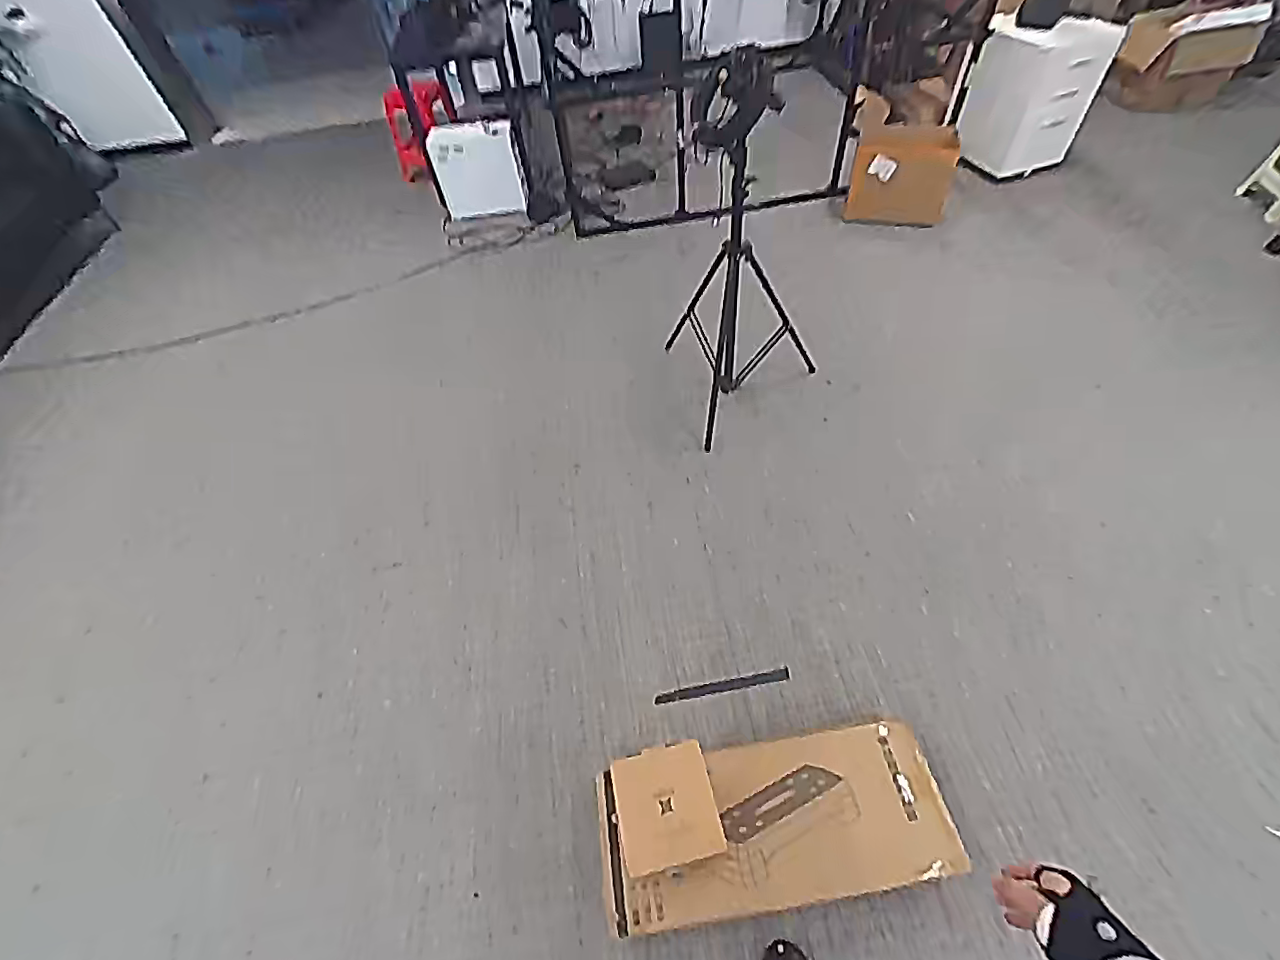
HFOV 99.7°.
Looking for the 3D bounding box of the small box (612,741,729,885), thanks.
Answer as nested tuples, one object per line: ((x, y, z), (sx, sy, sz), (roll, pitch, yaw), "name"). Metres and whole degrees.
((0.051, 0.598, 0.968), (0.168, 0.176, 0.179), (-14, 52, -5), "small box")
